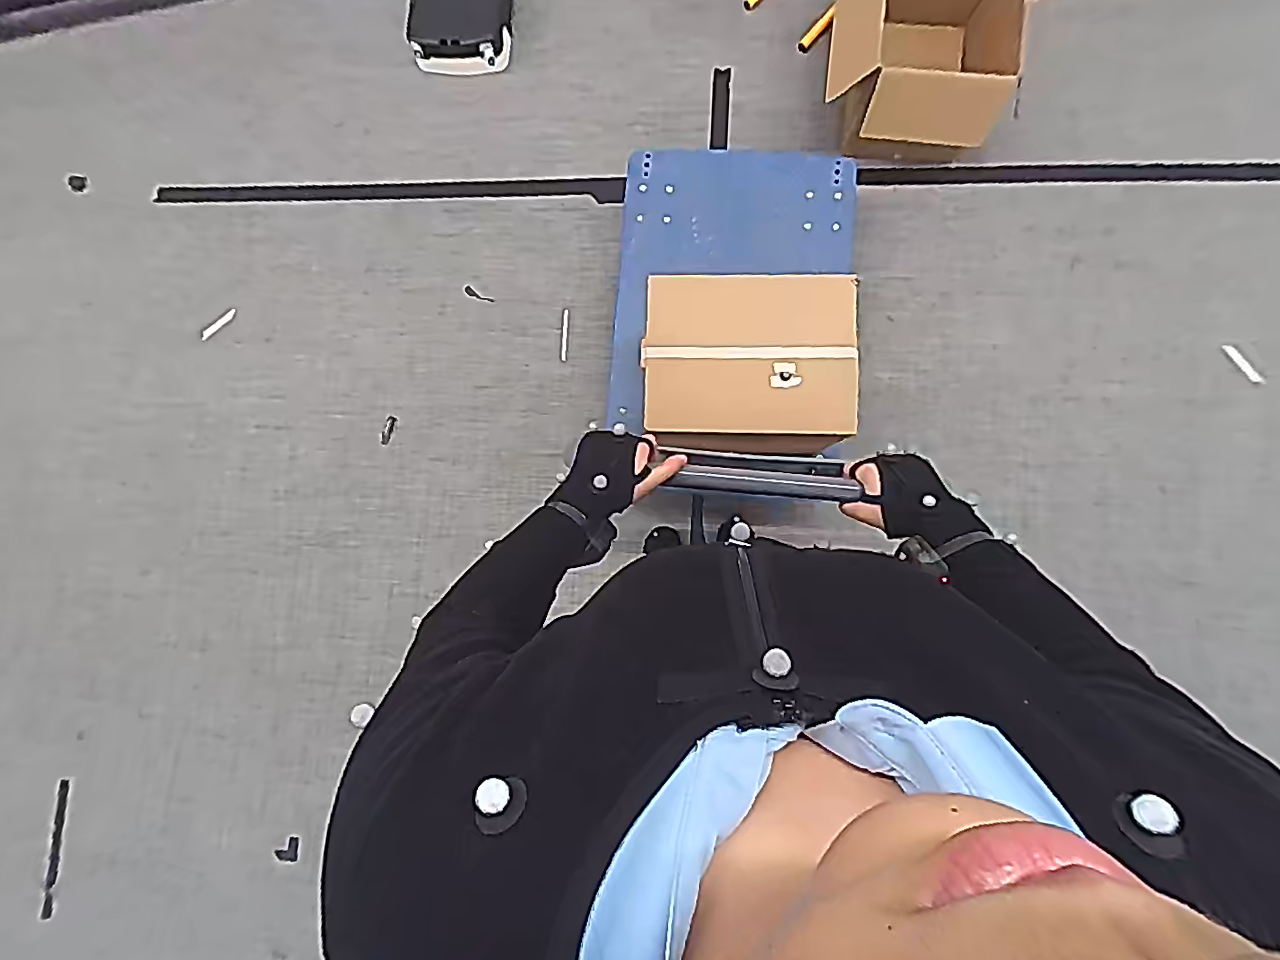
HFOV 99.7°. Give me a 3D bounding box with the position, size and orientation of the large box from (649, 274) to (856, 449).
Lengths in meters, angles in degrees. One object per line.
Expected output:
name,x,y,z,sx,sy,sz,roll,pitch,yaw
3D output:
large box,0.224,-0.241,1.203,0.408,0.320,0.320,1,87,3
